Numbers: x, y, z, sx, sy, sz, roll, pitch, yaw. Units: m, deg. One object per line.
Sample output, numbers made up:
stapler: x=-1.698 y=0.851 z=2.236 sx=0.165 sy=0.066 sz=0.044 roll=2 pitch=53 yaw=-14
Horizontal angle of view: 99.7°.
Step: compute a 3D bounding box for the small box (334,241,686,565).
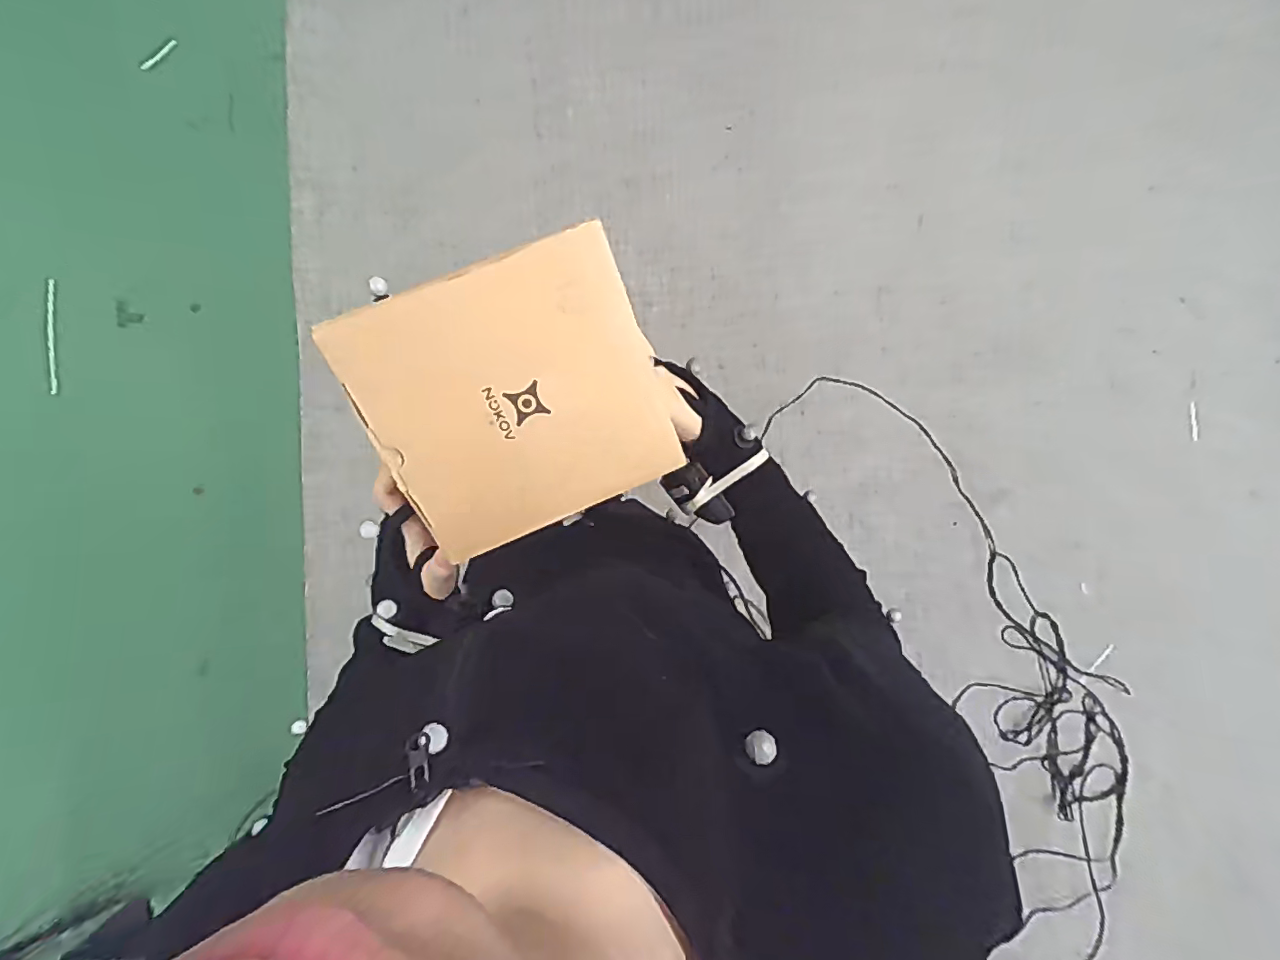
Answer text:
small box: x=-0.088 y=-0.070 z=0.417 sx=0.179 sy=0.176 sz=0.168 roll=-22 pitch=113 yaw=-3
